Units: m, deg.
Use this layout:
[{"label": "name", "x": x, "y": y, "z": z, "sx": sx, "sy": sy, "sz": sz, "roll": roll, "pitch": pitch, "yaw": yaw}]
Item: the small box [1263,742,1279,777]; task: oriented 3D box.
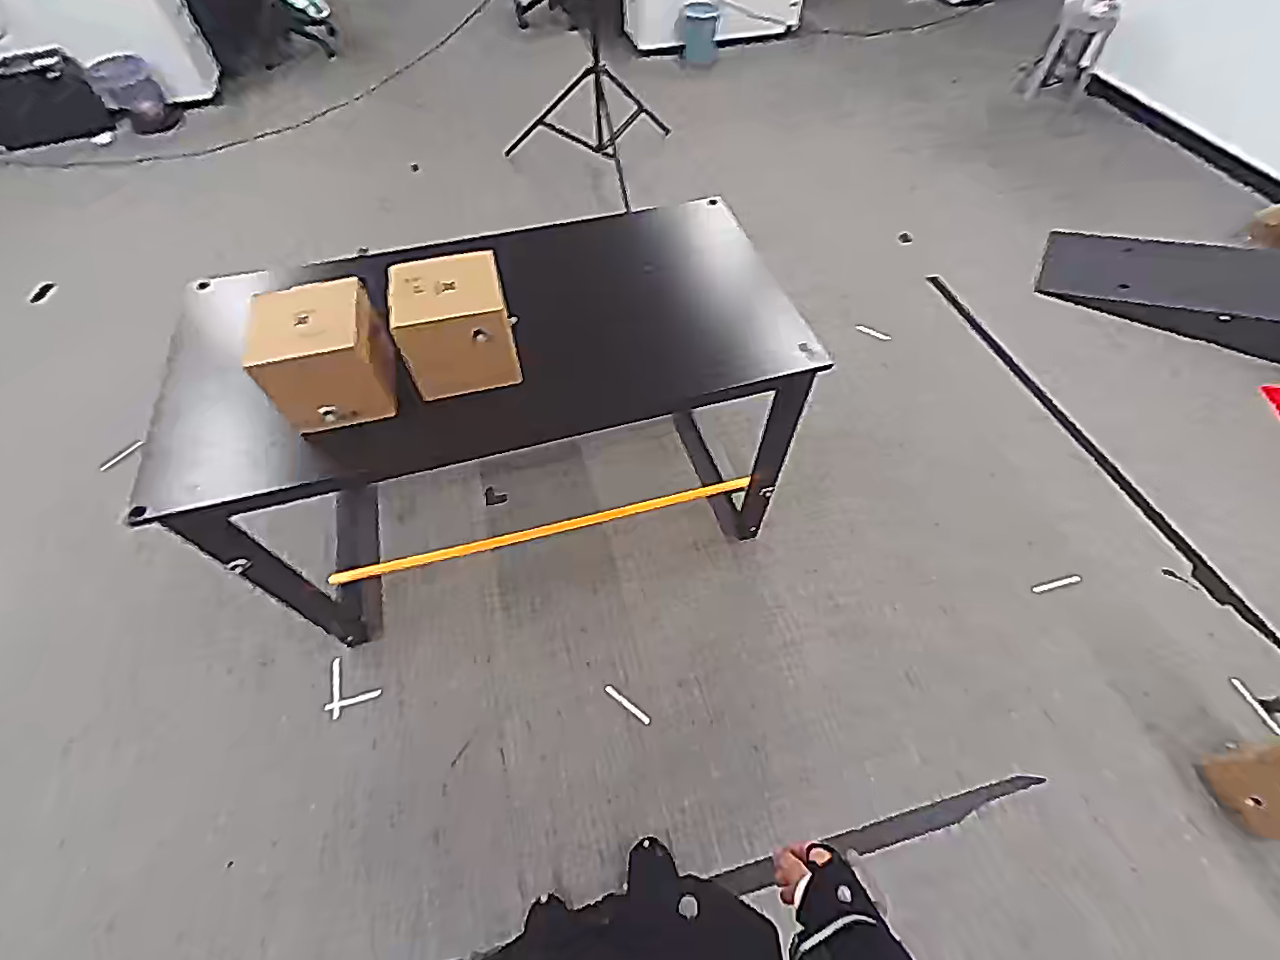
[{"label": "small box", "x": 1.425, "y": 0.584, "z": 1.062, "sx": 0.168, "sy": 0.176, "sz": 0.179, "roll": -16, "pitch": 59, "yaw": -10}]

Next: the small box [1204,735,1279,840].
[{"label": "small box", "x": 1.430, "y": 0.679, "z": 1.198, "sx": 0.179, "sy": 0.176, "sz": 0.168, "roll": -16, "pitch": 58, "yaw": -9}]

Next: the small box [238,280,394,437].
[{"label": "small box", "x": -0.530, "y": -0.202, "z": 0.910, "sx": 0.168, "sy": 0.176, "sz": 0.179, "roll": -15, "pitch": 58, "yaw": -8}]
